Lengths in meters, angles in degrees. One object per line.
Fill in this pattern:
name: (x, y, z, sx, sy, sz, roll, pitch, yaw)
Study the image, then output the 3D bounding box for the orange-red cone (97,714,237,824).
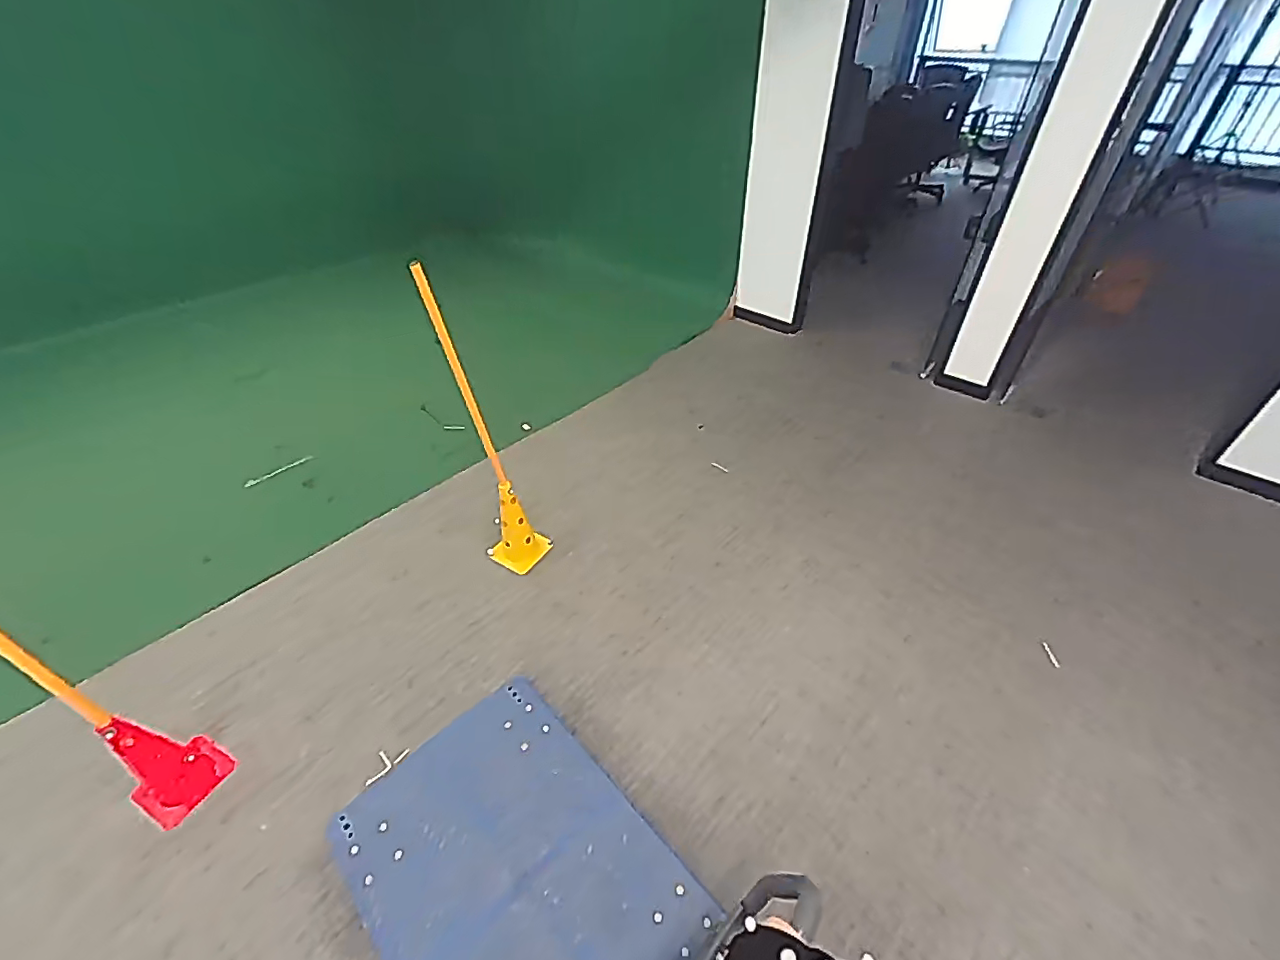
orange-red cone: (-1.298, 0.721, 1.434, 0.198, 0.360, 0.199, 19, 46, 22)
